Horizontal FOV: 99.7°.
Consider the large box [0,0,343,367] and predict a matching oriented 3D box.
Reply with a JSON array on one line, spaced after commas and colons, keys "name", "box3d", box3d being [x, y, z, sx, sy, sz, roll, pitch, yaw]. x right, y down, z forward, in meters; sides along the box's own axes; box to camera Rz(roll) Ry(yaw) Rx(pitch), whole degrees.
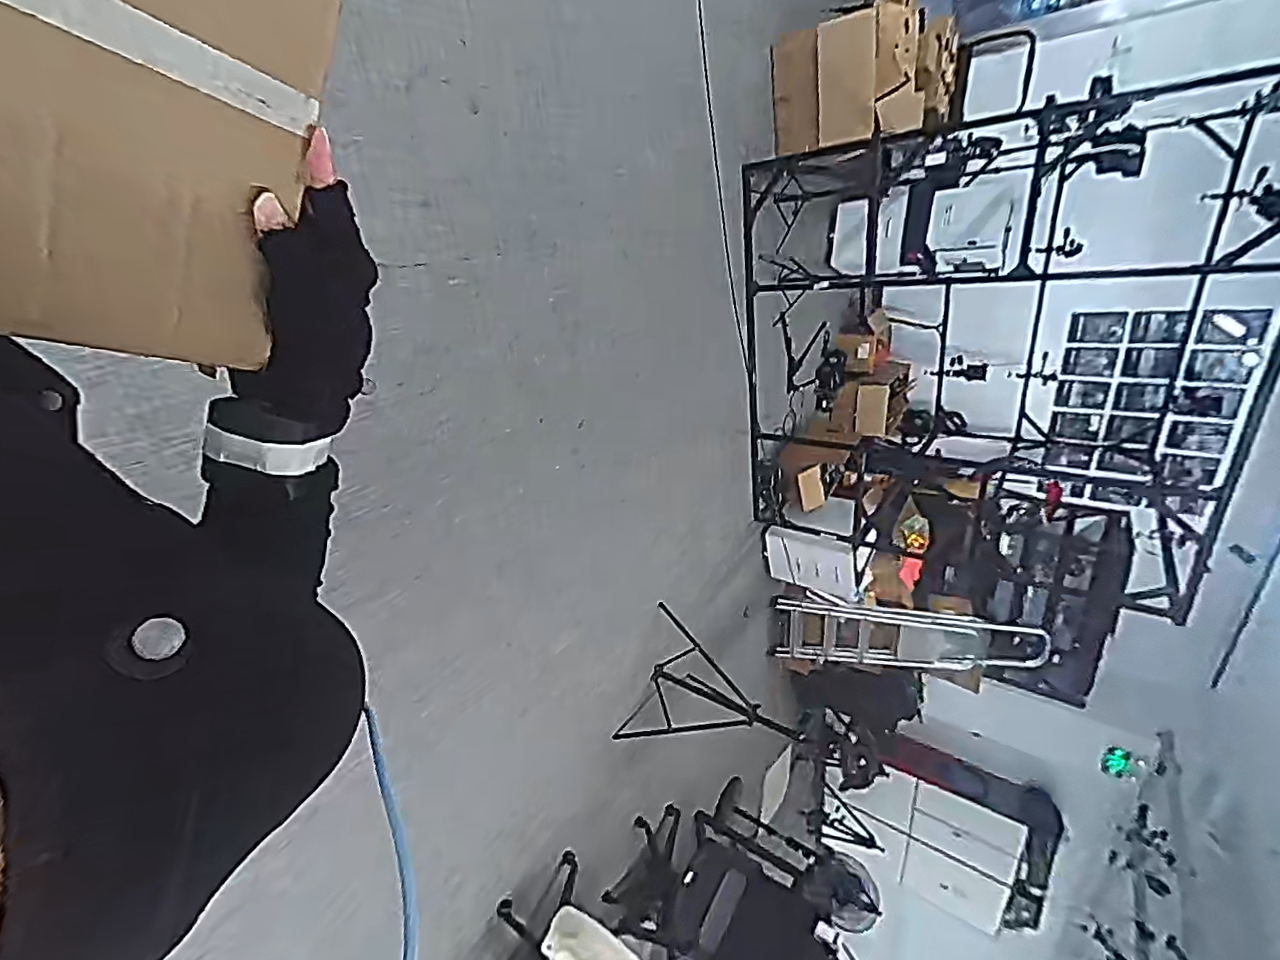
[{"name": "large box", "box3d": [-0.418, -0.284, 0.254, 0.408, 0.320, 0.320, 2, 121, -49]}]
